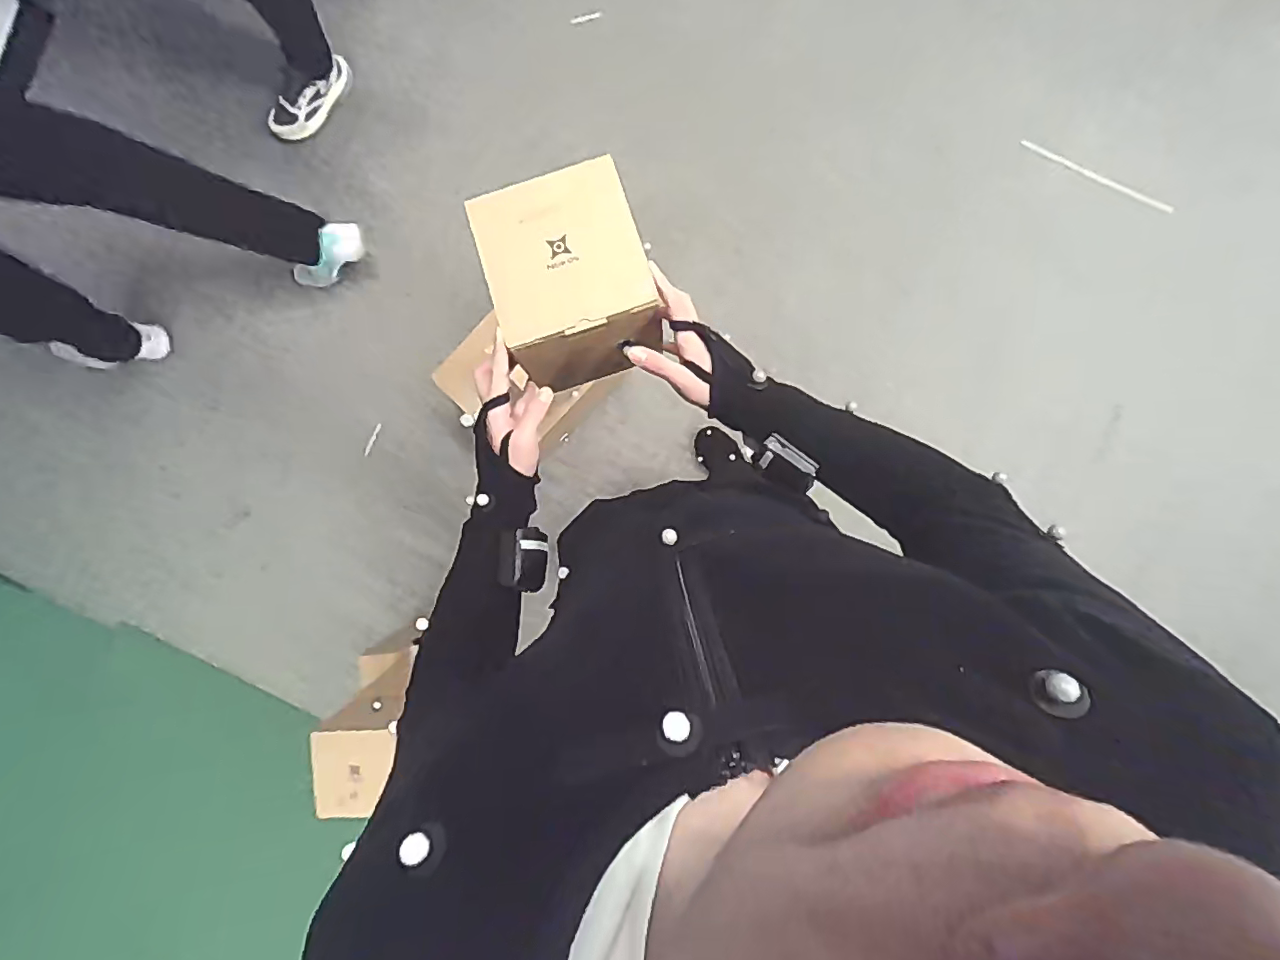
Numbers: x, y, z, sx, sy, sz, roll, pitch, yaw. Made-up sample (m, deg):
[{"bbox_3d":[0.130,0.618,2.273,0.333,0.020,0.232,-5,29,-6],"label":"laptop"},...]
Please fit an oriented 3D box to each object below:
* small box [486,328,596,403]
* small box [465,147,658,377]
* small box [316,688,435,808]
[{"bbox_3d":[-0.216,-0.293,1.241,0.168,0.176,0.179,-44,93,3],"label":"small box"},{"bbox_3d":[-0.079,-0.234,0.633,0.168,0.176,0.179,-17,83,1],"label":"small box"},{"bbox_3d":[-0.543,0.548,1.129,0.168,0.176,0.179,-3,93,2],"label":"small box"}]
